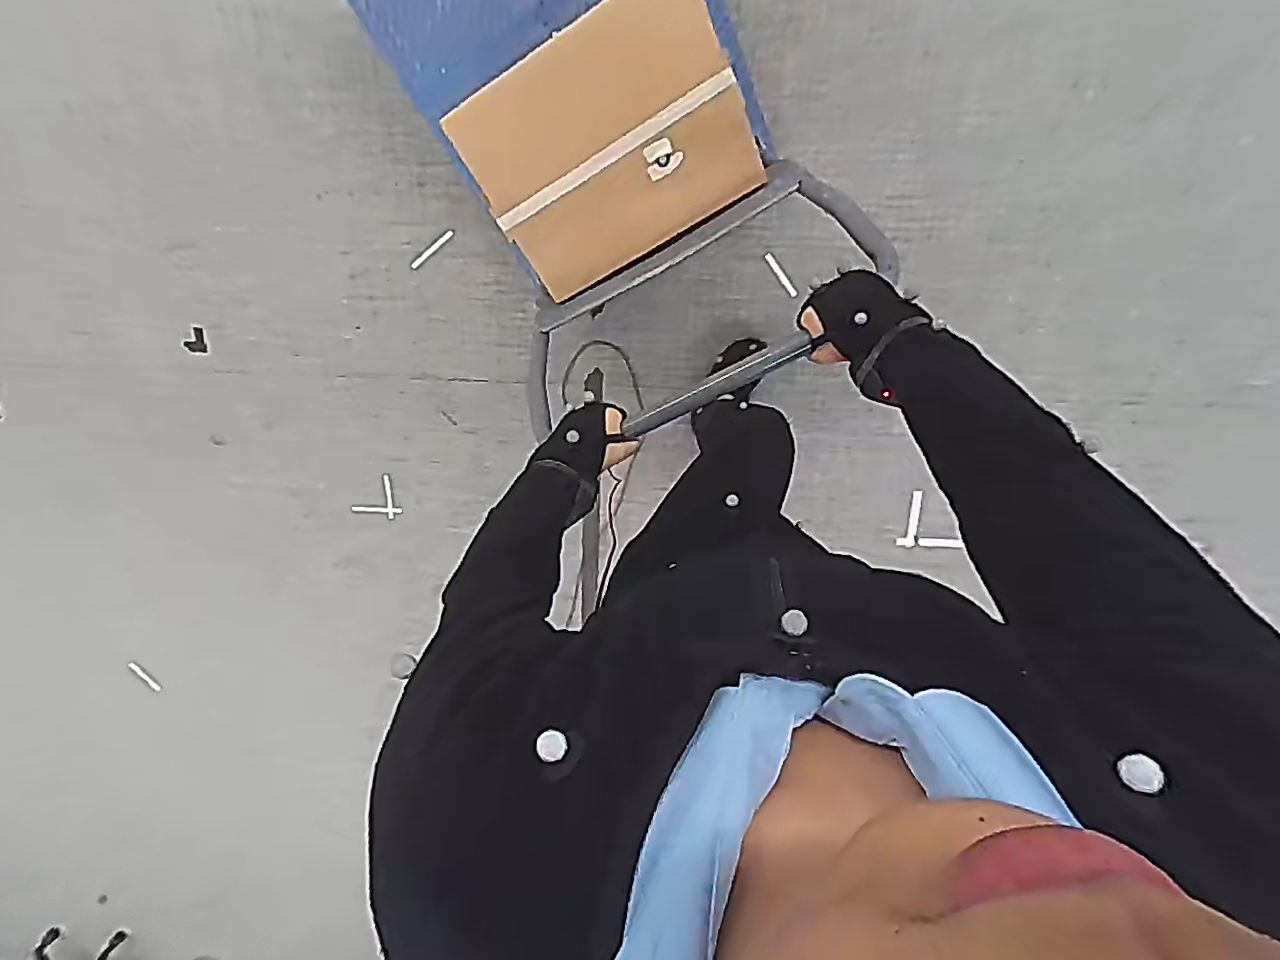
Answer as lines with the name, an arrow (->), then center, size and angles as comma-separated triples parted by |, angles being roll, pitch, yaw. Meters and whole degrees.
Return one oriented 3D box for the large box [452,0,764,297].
large box -> -0.053, -0.601, 0.963 | 0.408, 0.320, 0.320 | -27, 124, 13
